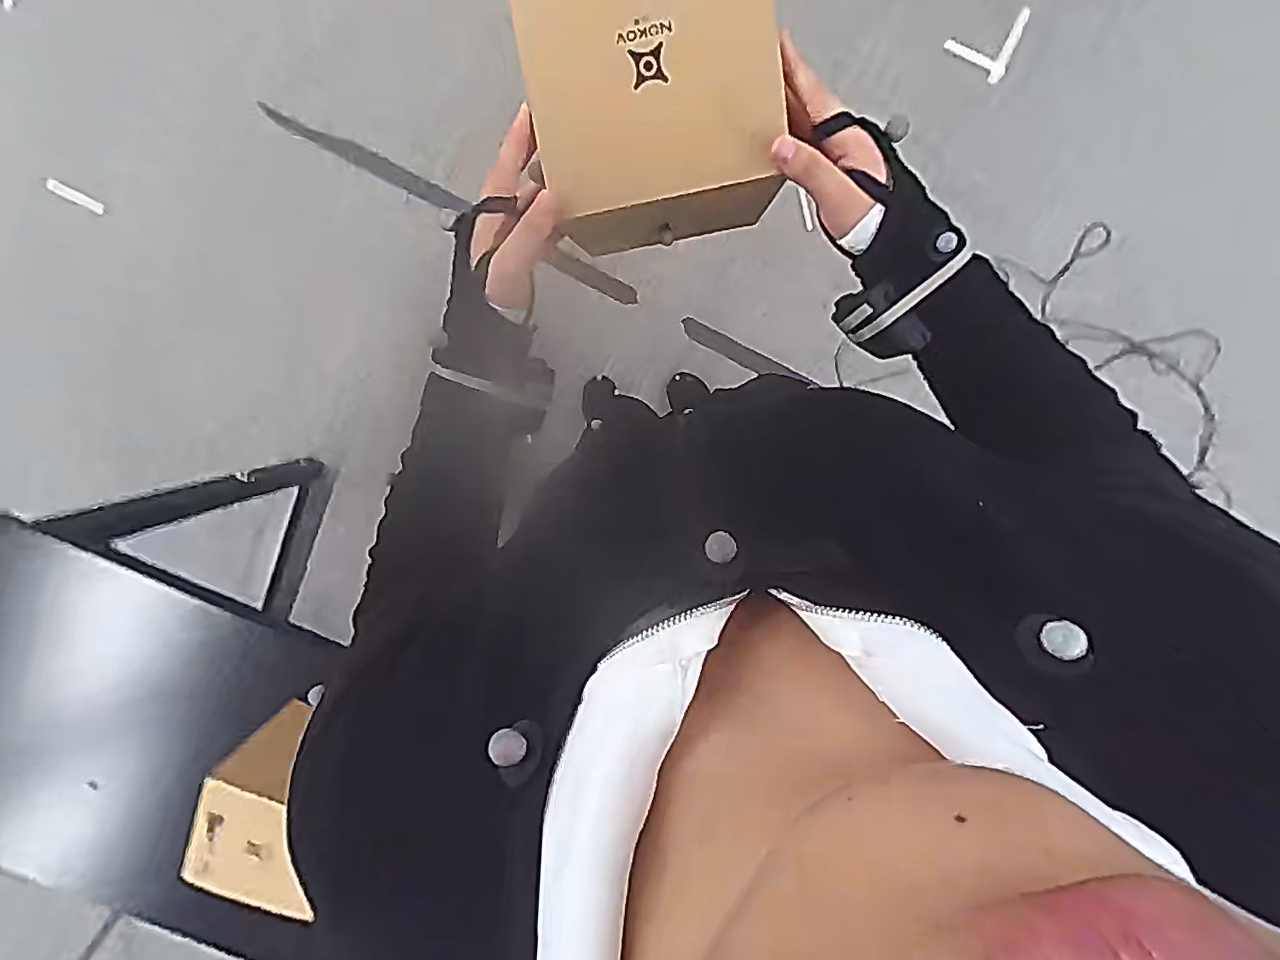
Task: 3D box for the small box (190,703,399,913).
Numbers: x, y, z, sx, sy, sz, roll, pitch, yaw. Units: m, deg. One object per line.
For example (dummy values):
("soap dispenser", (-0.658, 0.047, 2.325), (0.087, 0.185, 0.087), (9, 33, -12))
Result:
("small box", (-0.475, 0.452, 0.769), (0.179, 0.176, 0.168), (20, 101, -3))
